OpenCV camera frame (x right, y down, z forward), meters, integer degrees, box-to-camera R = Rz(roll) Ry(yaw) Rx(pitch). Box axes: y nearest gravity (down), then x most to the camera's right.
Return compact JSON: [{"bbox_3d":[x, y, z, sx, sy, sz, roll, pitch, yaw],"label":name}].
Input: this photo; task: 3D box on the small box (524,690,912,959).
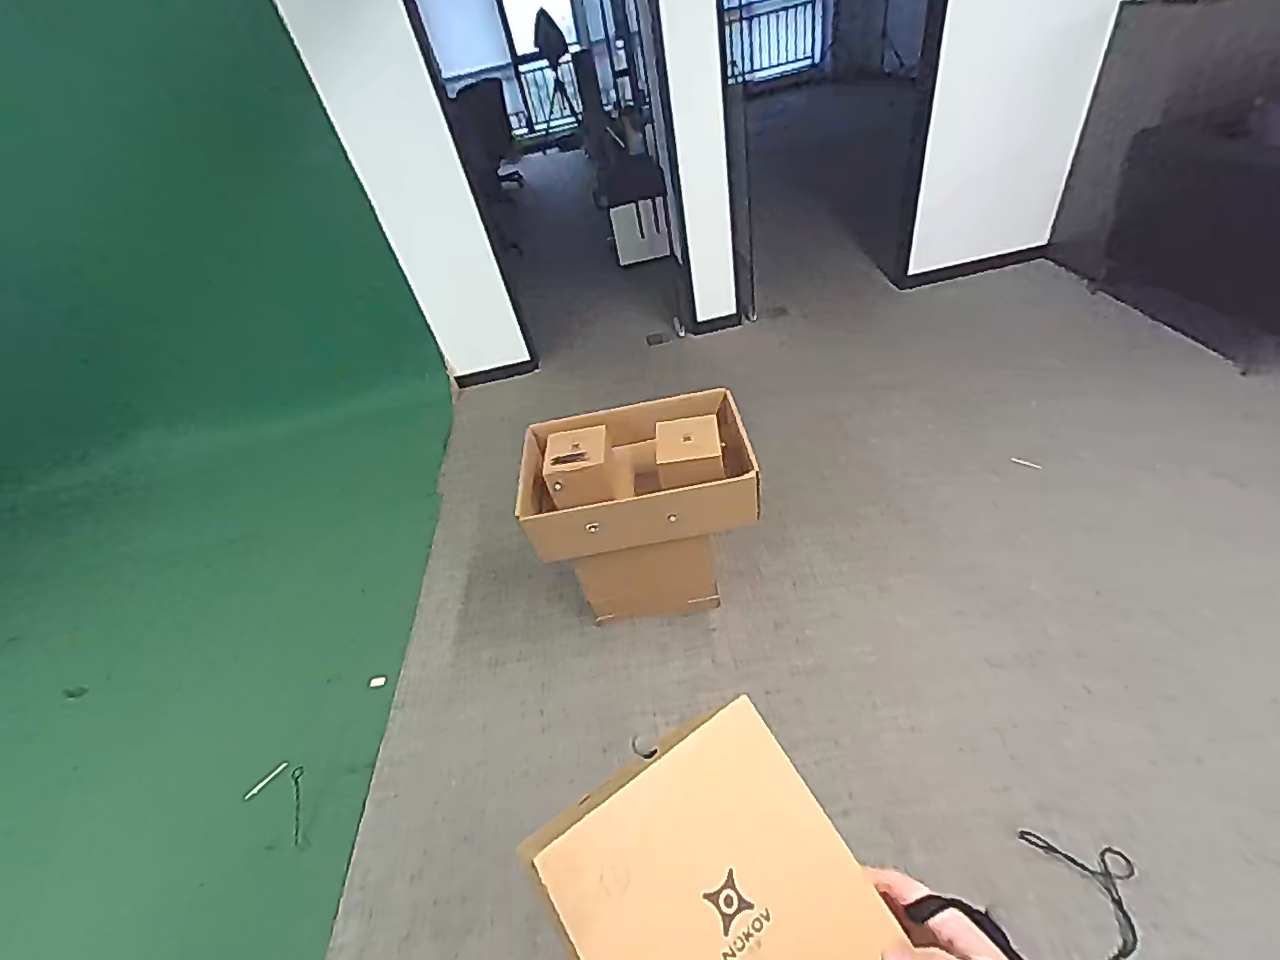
[{"bbox_3d":[0.031,0.281,0.375,0.168,0.176,0.179,-24,69,-27],"label":"small box"}]
